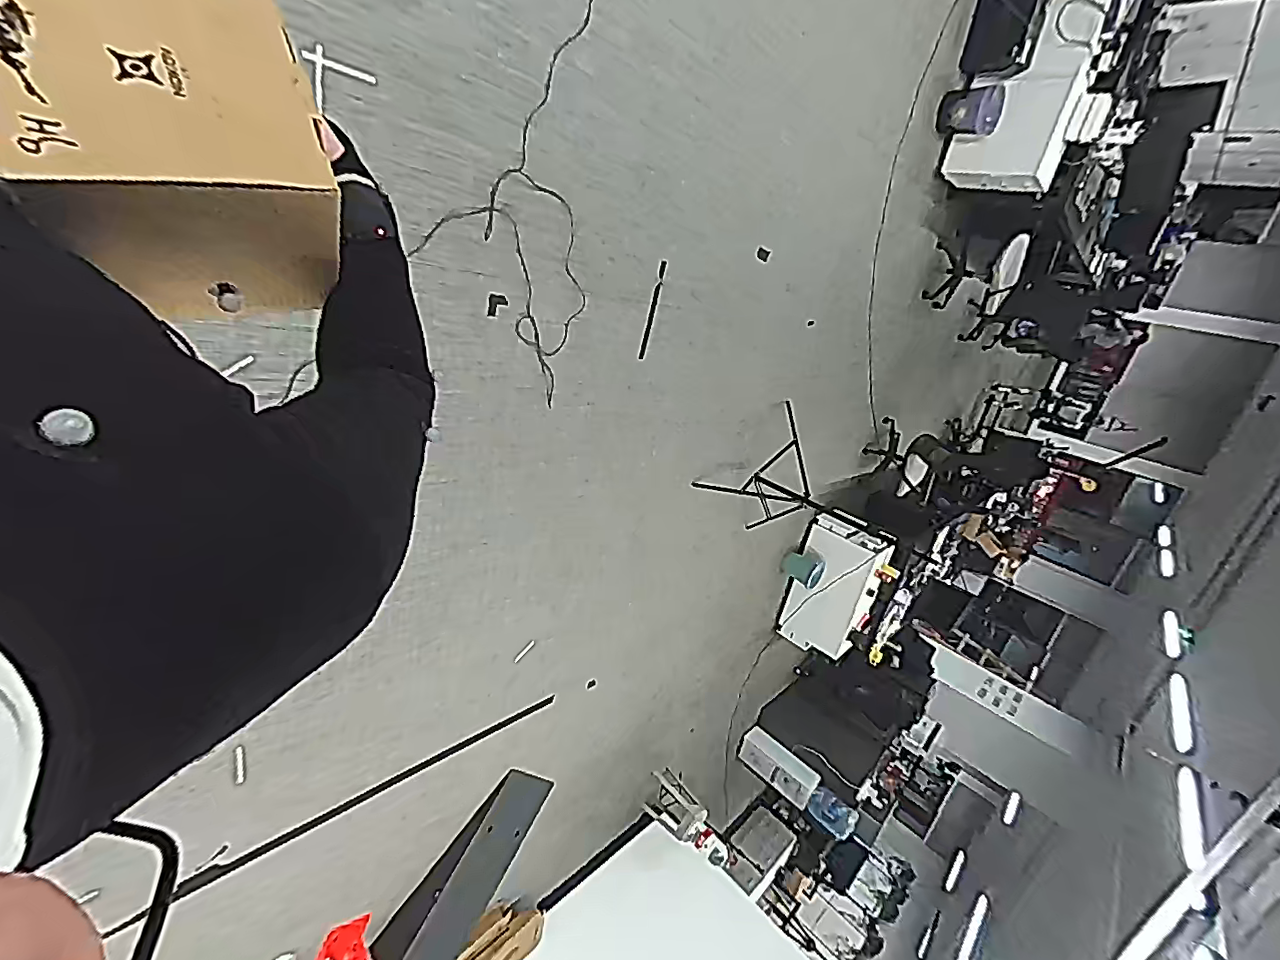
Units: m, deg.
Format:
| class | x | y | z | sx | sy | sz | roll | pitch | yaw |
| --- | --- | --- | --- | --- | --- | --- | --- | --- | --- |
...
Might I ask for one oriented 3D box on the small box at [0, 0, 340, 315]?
| class | x | y | z | sx | sy | sz | roll | pitch | yaw |
| --- | --- | --- | --- | --- | --- | --- | --- | --- | --- |
| small box | -0.361 | -0.250 | 0.433 | 0.179 | 0.176 | 0.168 | -17 | 84 | -33 |
